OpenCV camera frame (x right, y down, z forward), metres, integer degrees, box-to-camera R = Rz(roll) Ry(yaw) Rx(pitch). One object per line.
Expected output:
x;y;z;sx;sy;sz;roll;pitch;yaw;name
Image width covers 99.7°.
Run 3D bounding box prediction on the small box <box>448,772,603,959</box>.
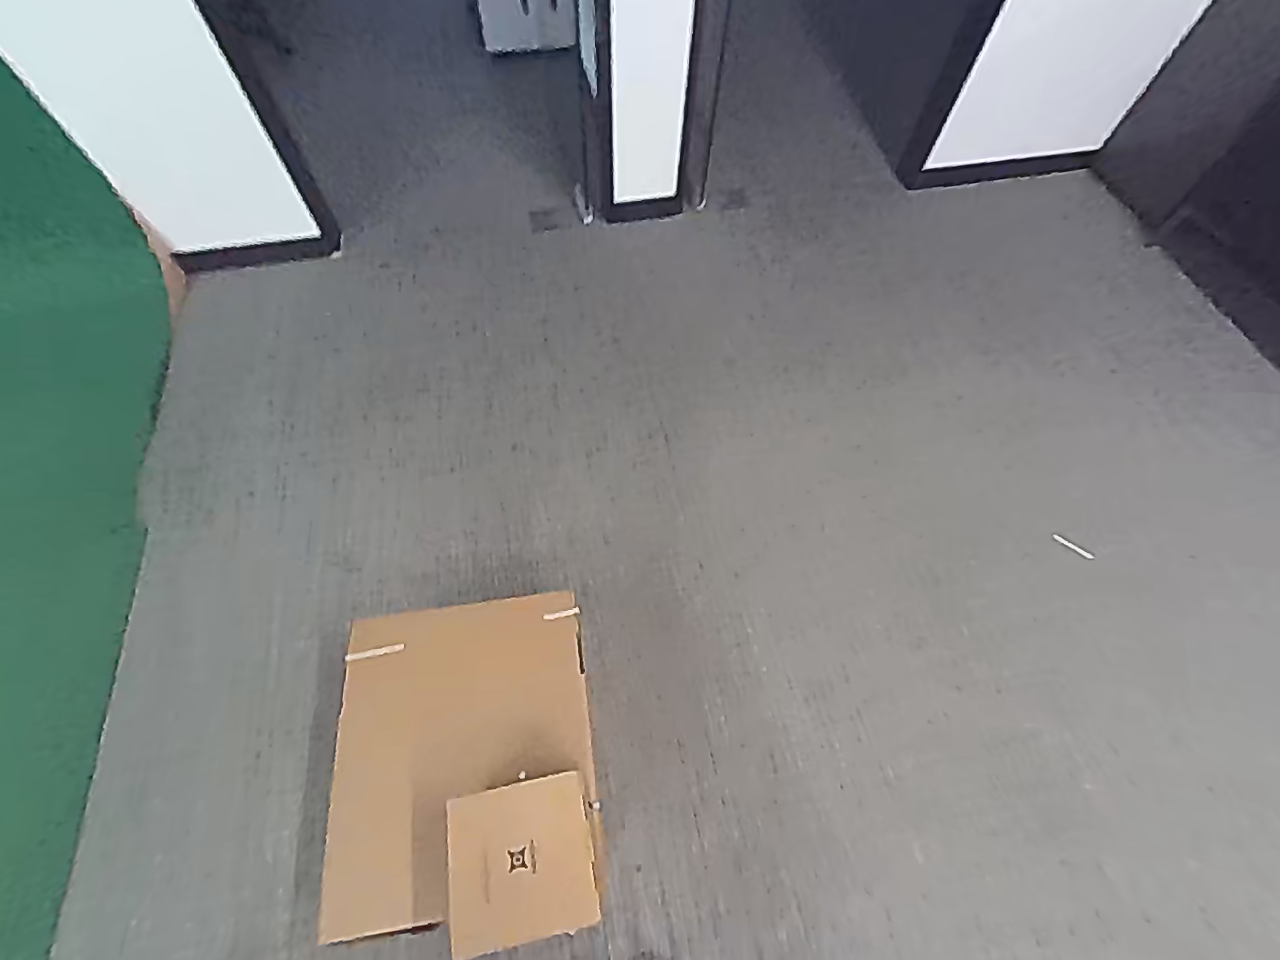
-0.148;0.504;0.730;0.179;0.176;0.168;-10;60;-8;small box
